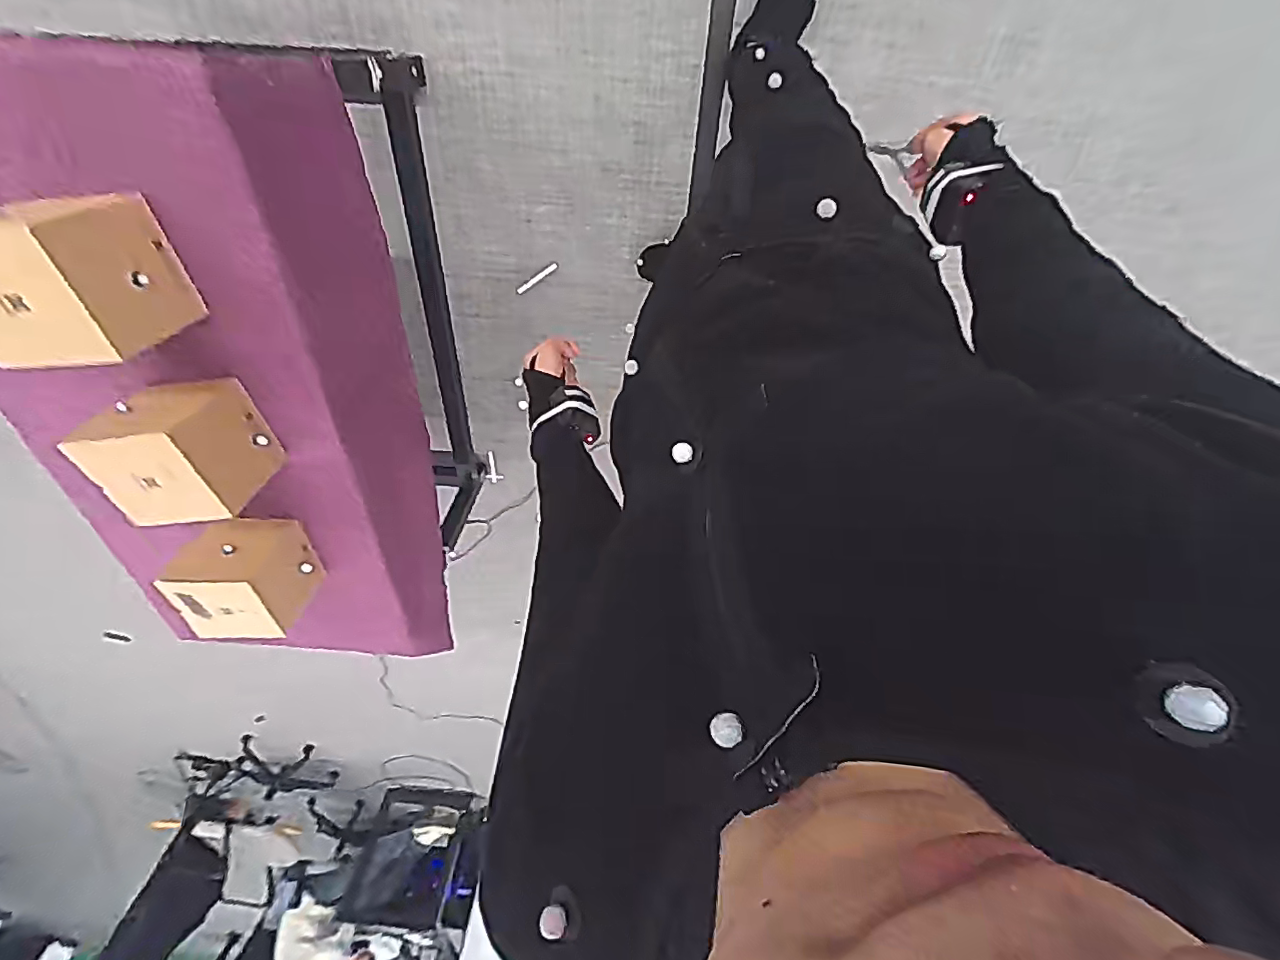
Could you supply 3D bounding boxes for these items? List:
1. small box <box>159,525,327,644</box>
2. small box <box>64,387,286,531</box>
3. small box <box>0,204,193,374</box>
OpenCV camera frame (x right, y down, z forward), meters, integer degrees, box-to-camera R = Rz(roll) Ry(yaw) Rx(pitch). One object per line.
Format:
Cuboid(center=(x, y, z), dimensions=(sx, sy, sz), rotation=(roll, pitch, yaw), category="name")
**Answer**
Cuboid(center=(-0.768, 0.202, 1.070), dimensions=(0.179, 0.176, 0.168), rotation=(0, 128, 3), category="small box")
Cuboid(center=(-0.735, -0.037, 0.881), dimensions=(0.179, 0.176, 0.168), rotation=(-4, 129, 8), category="small box")
Cuboid(center=(-0.745, -0.253, 0.708), dimensions=(0.179, 0.176, 0.168), rotation=(-1, 128, 5), category="small box")
